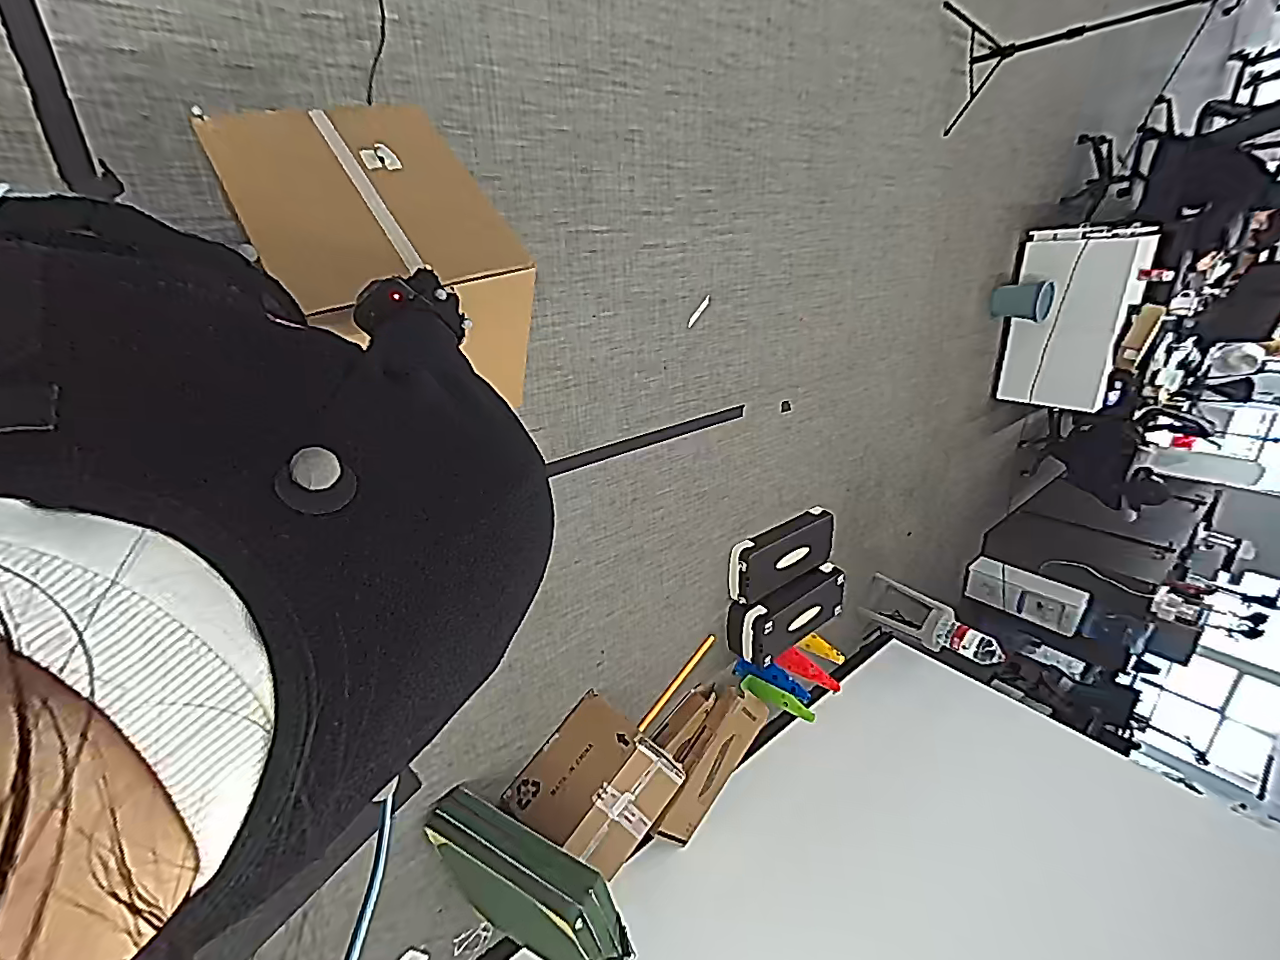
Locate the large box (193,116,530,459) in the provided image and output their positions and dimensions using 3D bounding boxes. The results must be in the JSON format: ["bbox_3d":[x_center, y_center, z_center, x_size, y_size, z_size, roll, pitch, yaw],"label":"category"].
[{"bbox_3d":[-0.420,-0.312,0.879,0.320,0.408,0.320,-26,159,-30],"label":"large box"}]
